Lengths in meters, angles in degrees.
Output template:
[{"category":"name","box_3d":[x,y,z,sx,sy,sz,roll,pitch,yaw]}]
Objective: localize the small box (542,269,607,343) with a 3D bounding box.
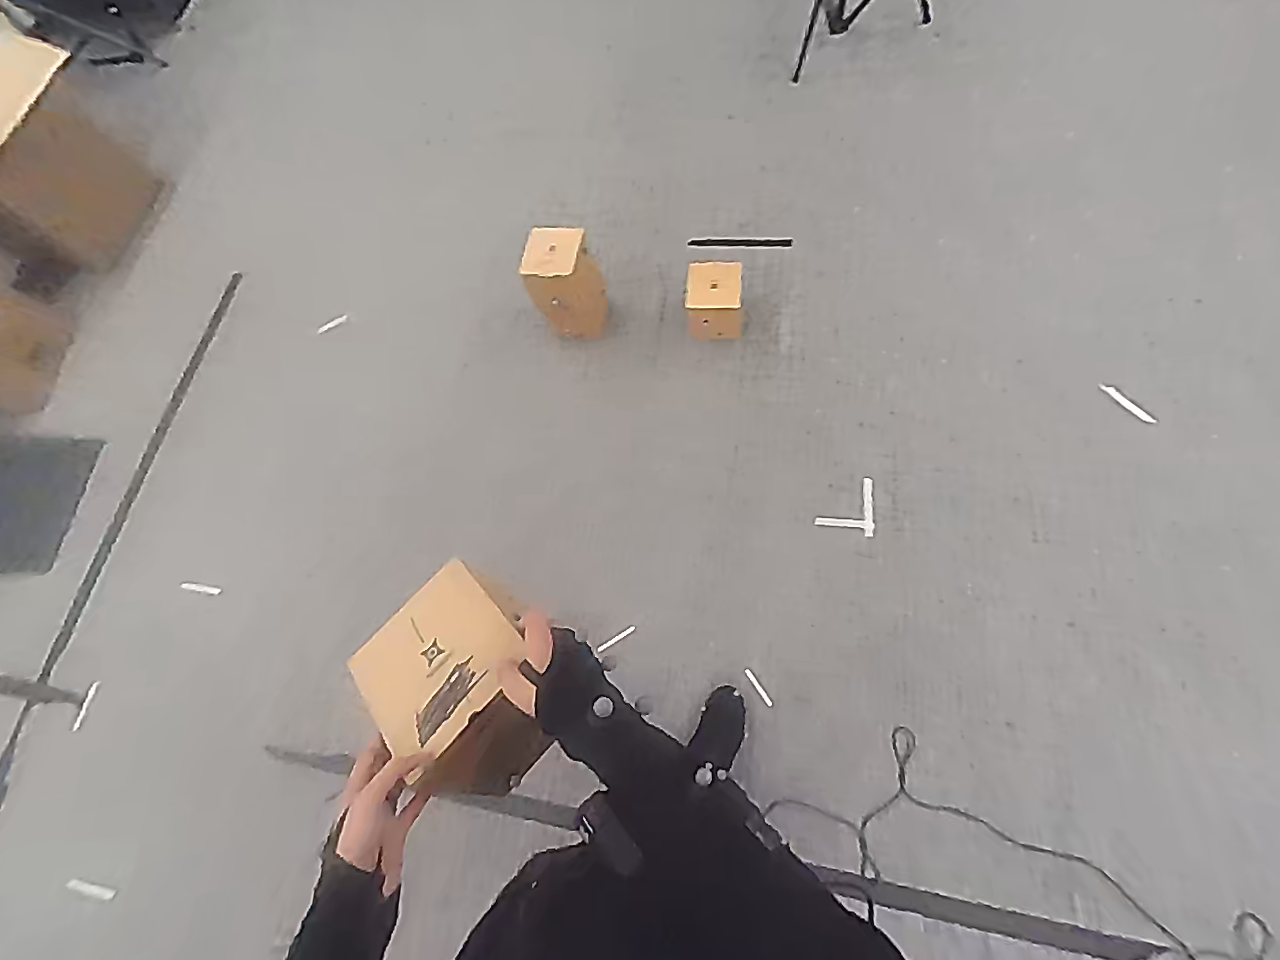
[{"category":"small box","box_3d":[-0.215,-0.588,1.816,0.168,0.176,0.179,8,71,12]}]

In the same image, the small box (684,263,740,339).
[{"category":"small box","box_3d":[0.235,-0.570,1.742,0.168,0.176,0.179,3,69,10]}]

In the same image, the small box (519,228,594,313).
[{"category":"small box","box_3d":[-0.247,-0.642,1.664,0.168,0.176,0.179,7,71,12]}]

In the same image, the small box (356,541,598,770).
[{"category":"small box","box_3d":[-0.178,0.207,0.625,0.168,0.176,0.179,-45,53,-10]}]
